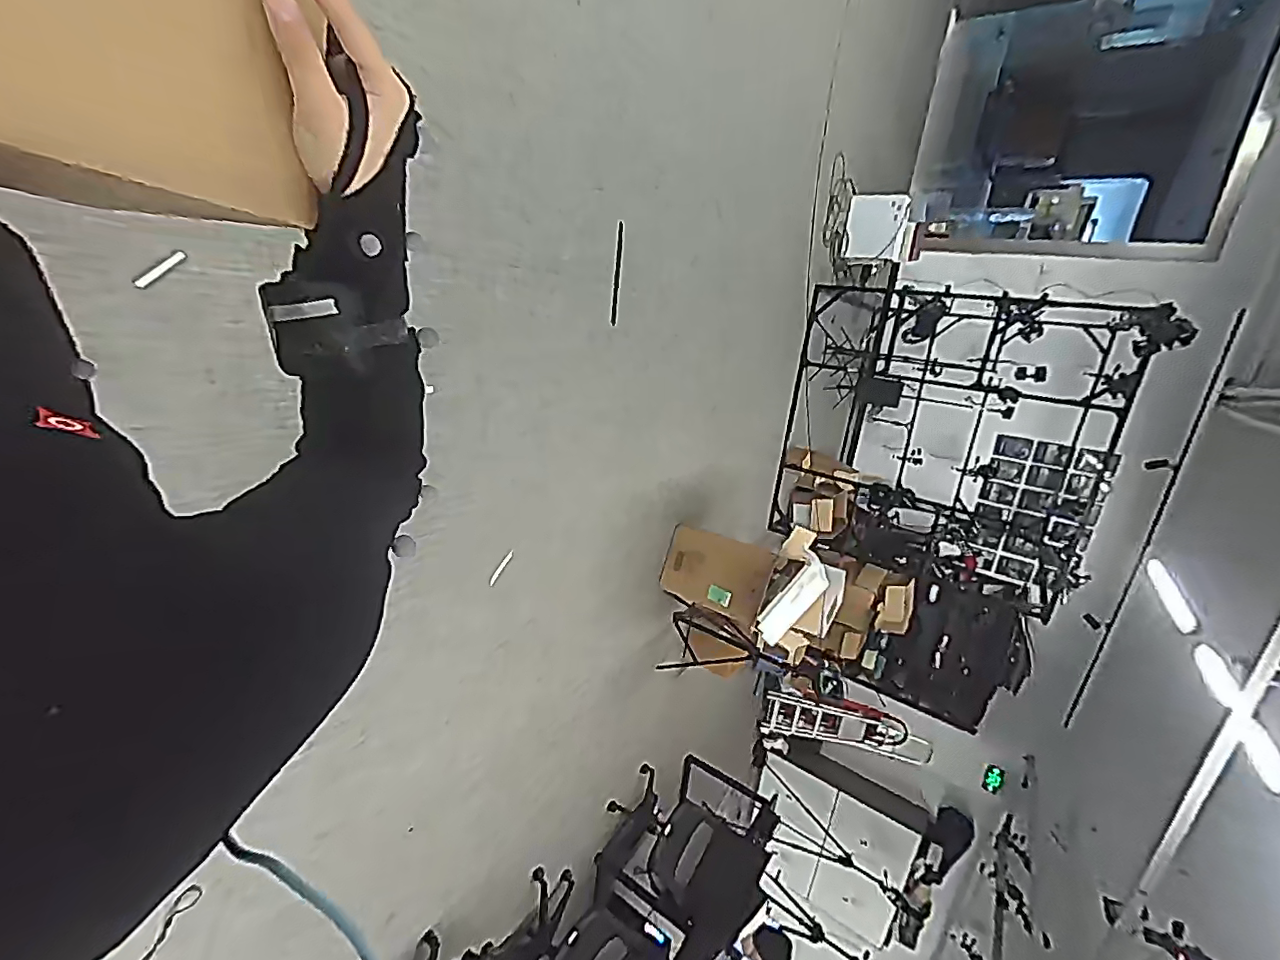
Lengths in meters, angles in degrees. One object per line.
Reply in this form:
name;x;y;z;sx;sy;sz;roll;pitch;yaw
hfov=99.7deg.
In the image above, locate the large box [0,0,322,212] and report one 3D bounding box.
large box;-0.403;-0.322;0.196;0.408;0.320;0.320;-15;120;-61
